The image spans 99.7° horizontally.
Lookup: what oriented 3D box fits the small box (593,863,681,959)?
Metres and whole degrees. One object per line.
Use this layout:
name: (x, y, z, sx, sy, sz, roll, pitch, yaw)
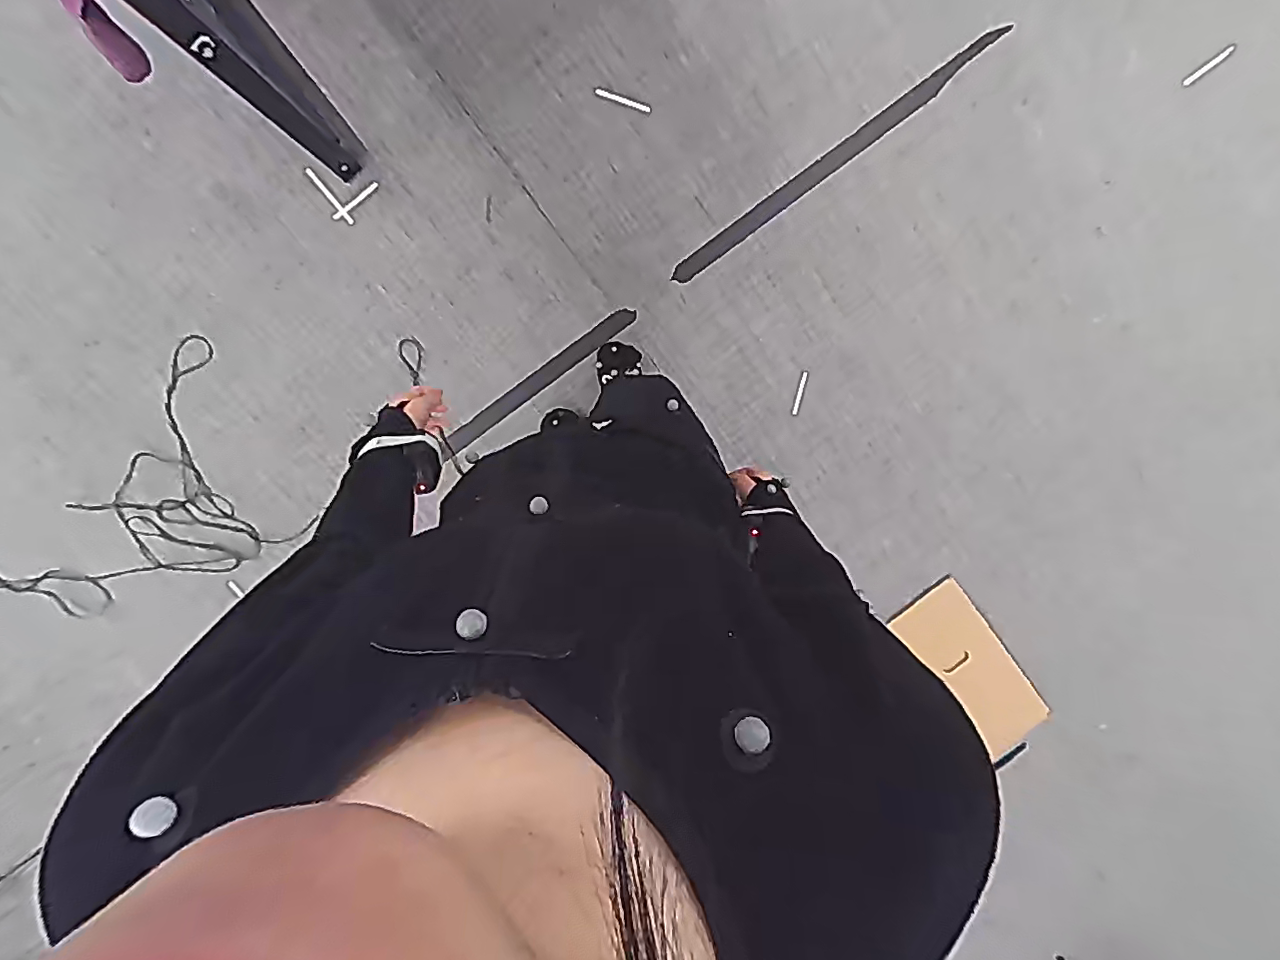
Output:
small box: (-0.012, 1.050, 1.281, 0.179, 0.176, 0.168, 10, 97, -5)
